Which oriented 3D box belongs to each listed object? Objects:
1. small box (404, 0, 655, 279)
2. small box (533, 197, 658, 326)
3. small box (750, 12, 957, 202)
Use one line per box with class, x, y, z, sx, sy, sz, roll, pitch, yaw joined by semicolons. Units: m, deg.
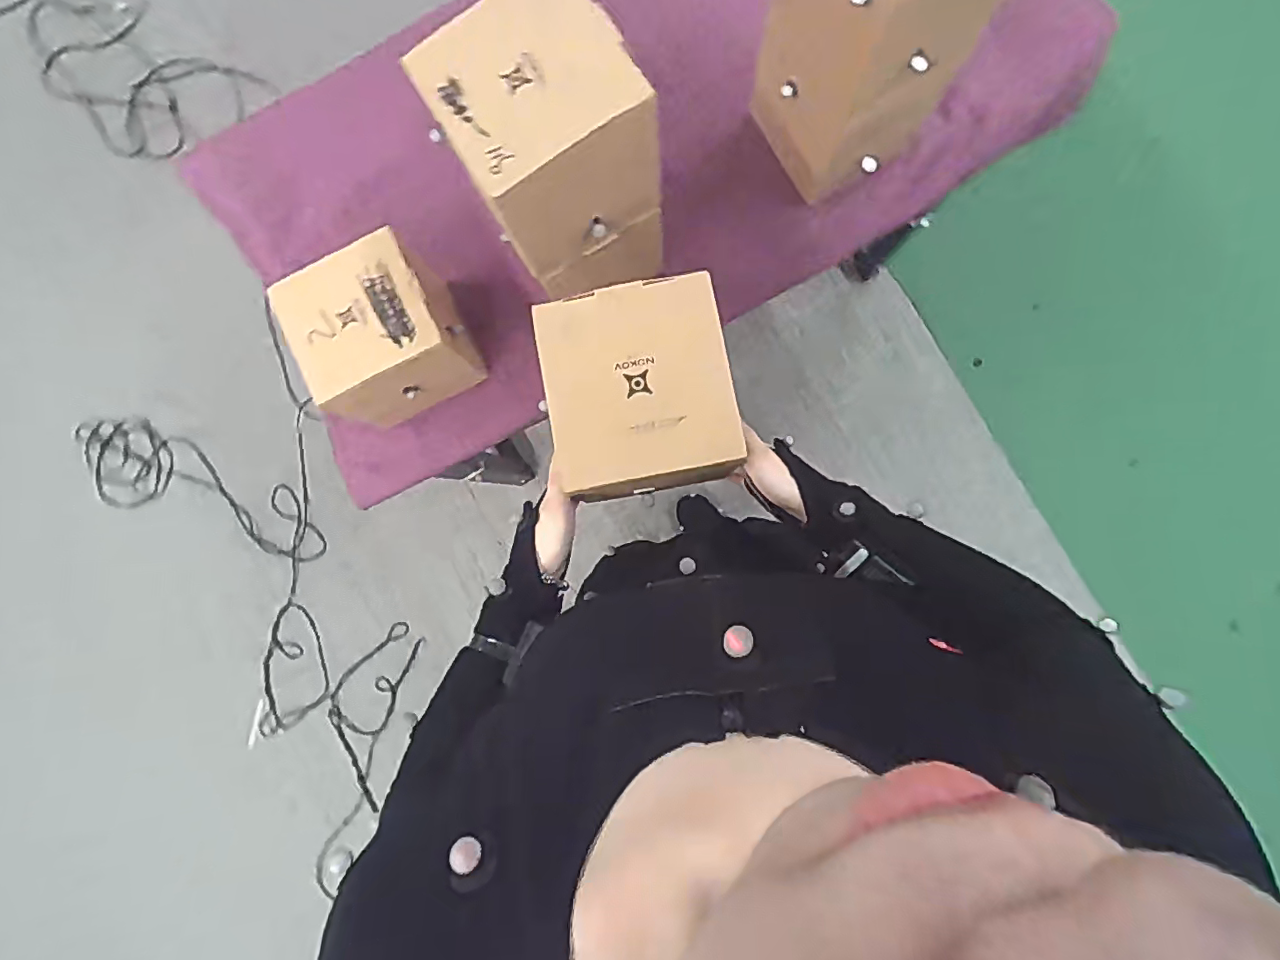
small box;-0.098;-0.349;0.564;0.179;0.176;0.168;-33;84;0
small box;-0.089;-0.342;0.727;0.168;0.176;0.179;-33;85;1
small box;0.264;-0.519;0.720;0.168;0.176;0.179;-31;86;1
